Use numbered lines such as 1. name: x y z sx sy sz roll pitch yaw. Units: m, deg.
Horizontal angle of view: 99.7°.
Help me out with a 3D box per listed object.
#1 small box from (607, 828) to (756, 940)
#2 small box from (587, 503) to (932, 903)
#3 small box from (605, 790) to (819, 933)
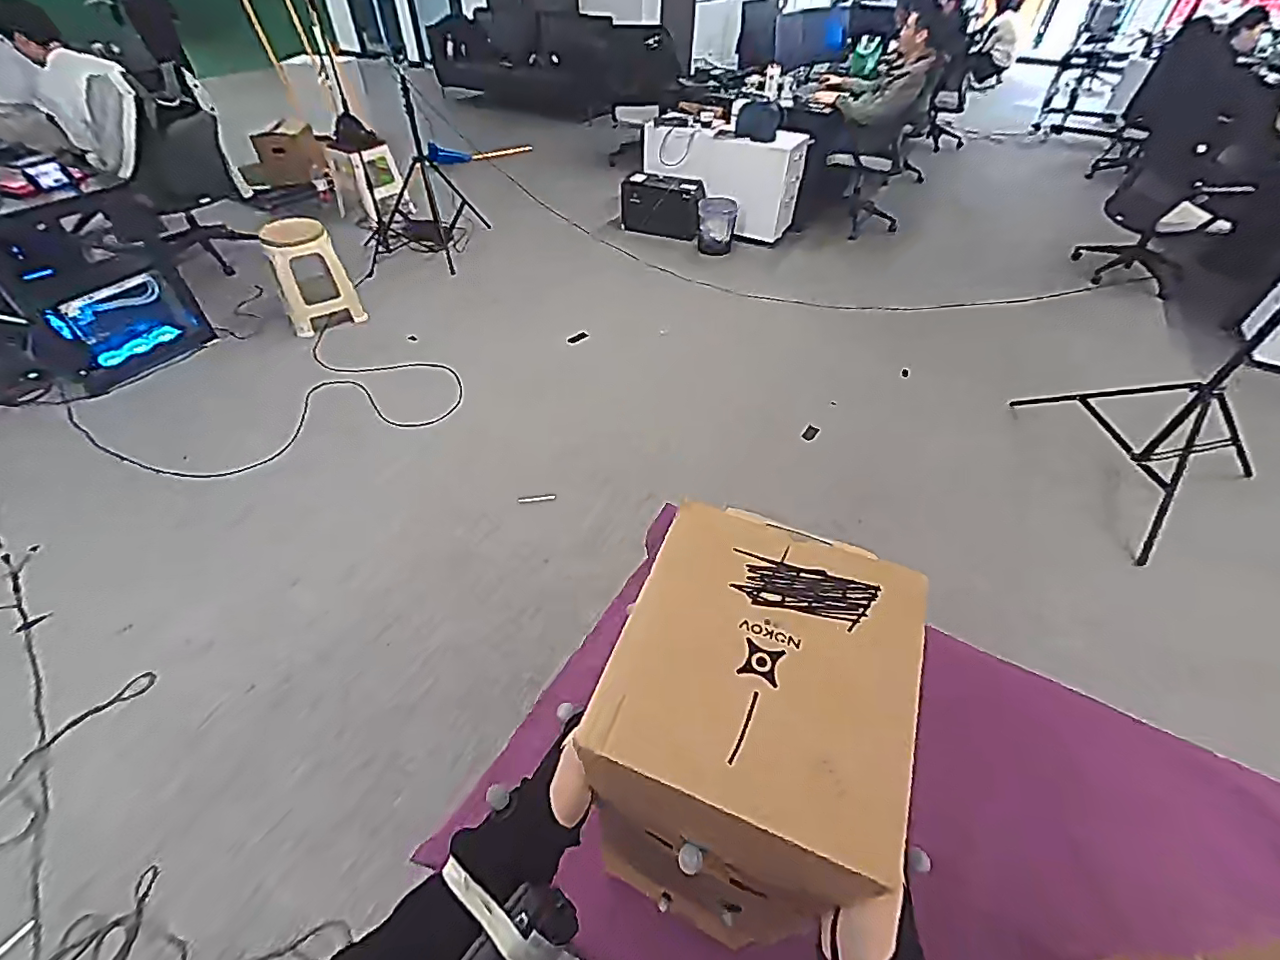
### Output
1. small box: 0.075 0.384 0.621 0.168 0.176 0.179 21 48 17
2. small box: 0.078 0.151 0.372 0.168 0.176 0.179 17 52 16
3. small box: 0.079 0.275 0.501 0.168 0.176 0.179 20 47 15
